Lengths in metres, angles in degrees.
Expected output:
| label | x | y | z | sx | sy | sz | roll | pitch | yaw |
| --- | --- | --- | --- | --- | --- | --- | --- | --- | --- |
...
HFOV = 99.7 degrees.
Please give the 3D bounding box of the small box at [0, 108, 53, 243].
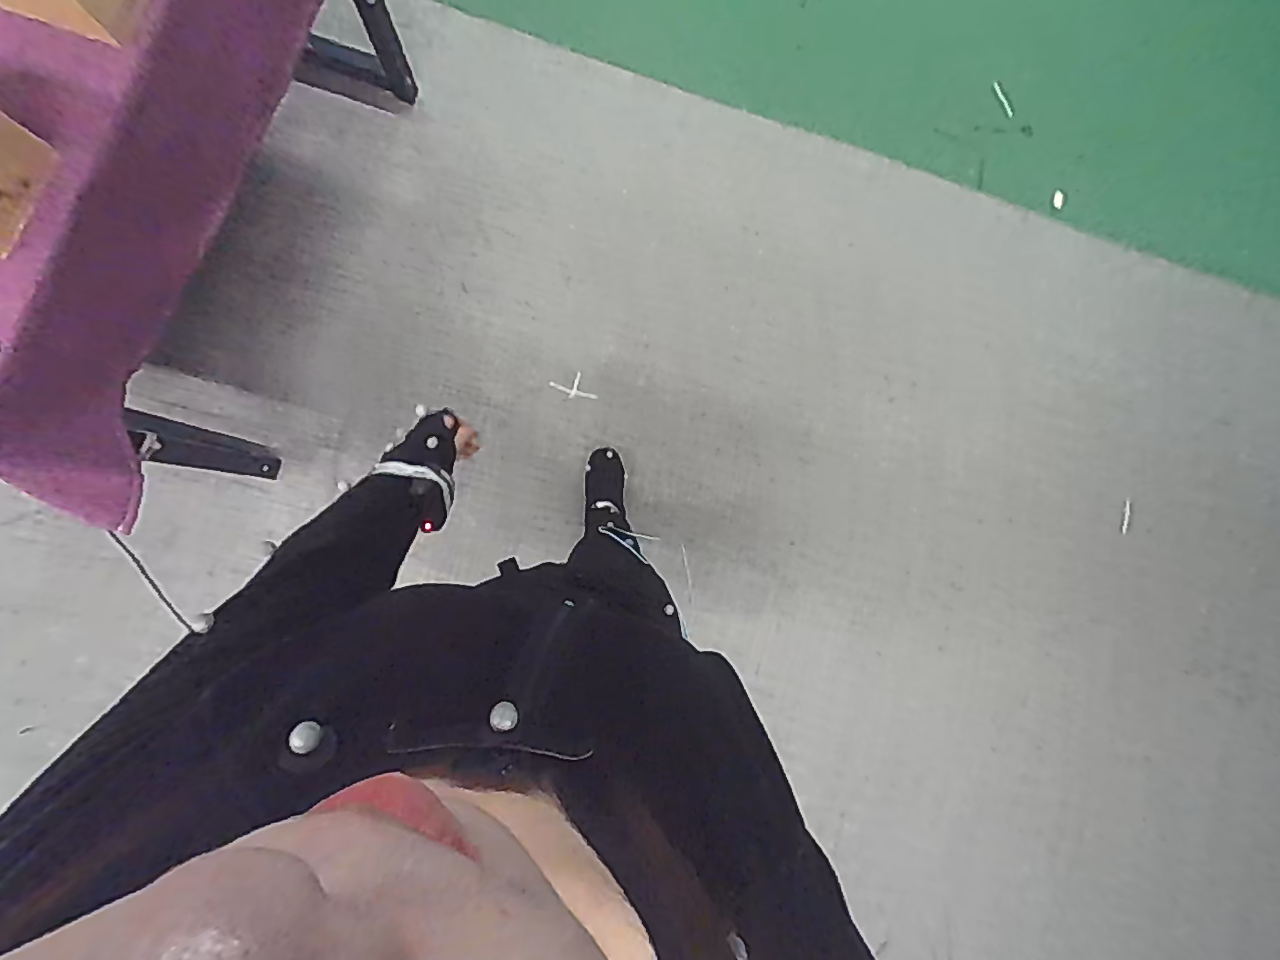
| label | x | y | z | sx | sy | sz | roll | pitch | yaw |
| --- | --- | --- | --- | --- | --- | --- | --- | --- | --- |
| small box | -0.883 | -0.409 | 0.632 | 0.179 | 0.176 | 0.168 | 21 | 83 | -5 |
